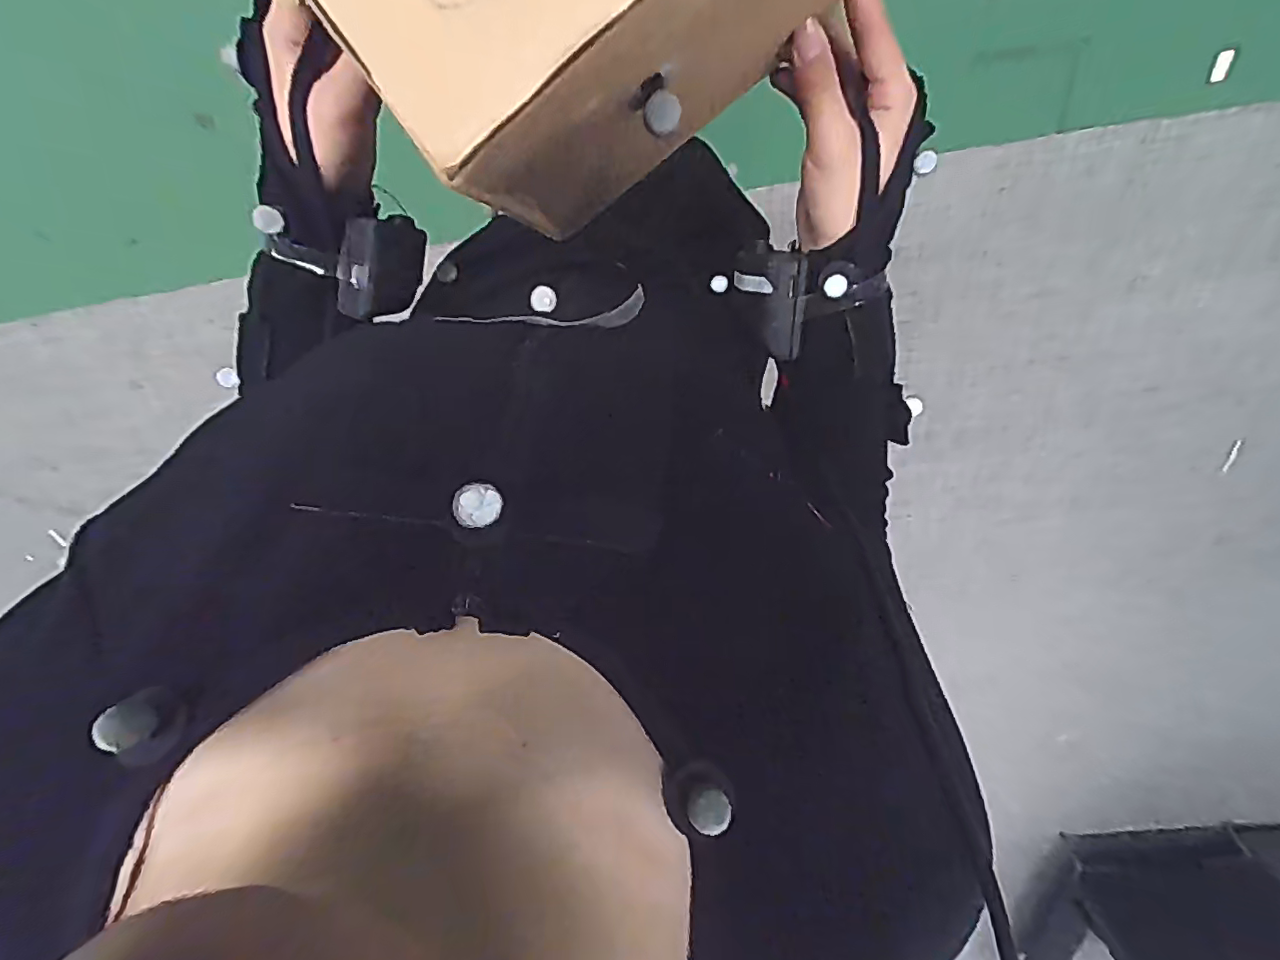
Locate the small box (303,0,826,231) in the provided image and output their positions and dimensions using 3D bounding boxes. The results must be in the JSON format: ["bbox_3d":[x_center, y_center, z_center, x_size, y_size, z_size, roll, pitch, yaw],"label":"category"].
[{"bbox_3d":[-0.028,-0.220,0.201,0.179,0.176,0.168,-33,103,14],"label":"small box"}]
